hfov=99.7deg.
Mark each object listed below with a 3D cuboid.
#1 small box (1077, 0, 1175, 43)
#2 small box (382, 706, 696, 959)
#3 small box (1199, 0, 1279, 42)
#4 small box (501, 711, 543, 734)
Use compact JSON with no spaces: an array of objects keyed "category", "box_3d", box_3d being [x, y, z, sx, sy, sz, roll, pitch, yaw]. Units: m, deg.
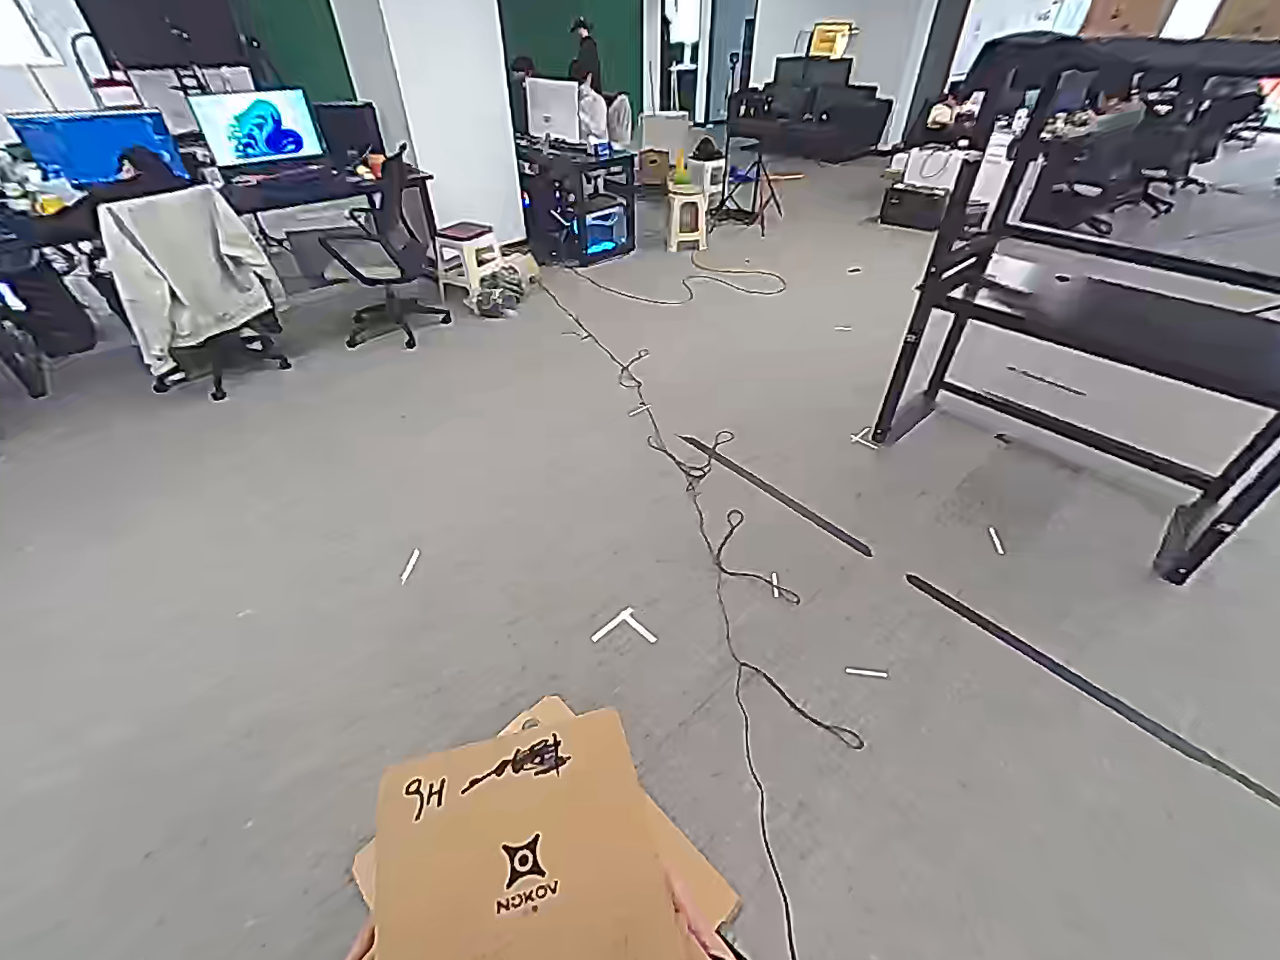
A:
[{"category":"small box","box_3d":[1.340,-1.305,1.471,0.179,0.176,0.168,-30,50,-33]},{"category":"small box","box_3d":[-0.072,0.291,0.373,0.168,0.176,0.179,-7,45,-17]},{"category":"small box","box_3d":[1.524,-1.177,1.314,0.179,0.176,0.168,-29,47,-32]},{"category":"small box","box_3d":[-0.283,0.721,1.336,0.168,0.176,0.179,30,49,31]}]
